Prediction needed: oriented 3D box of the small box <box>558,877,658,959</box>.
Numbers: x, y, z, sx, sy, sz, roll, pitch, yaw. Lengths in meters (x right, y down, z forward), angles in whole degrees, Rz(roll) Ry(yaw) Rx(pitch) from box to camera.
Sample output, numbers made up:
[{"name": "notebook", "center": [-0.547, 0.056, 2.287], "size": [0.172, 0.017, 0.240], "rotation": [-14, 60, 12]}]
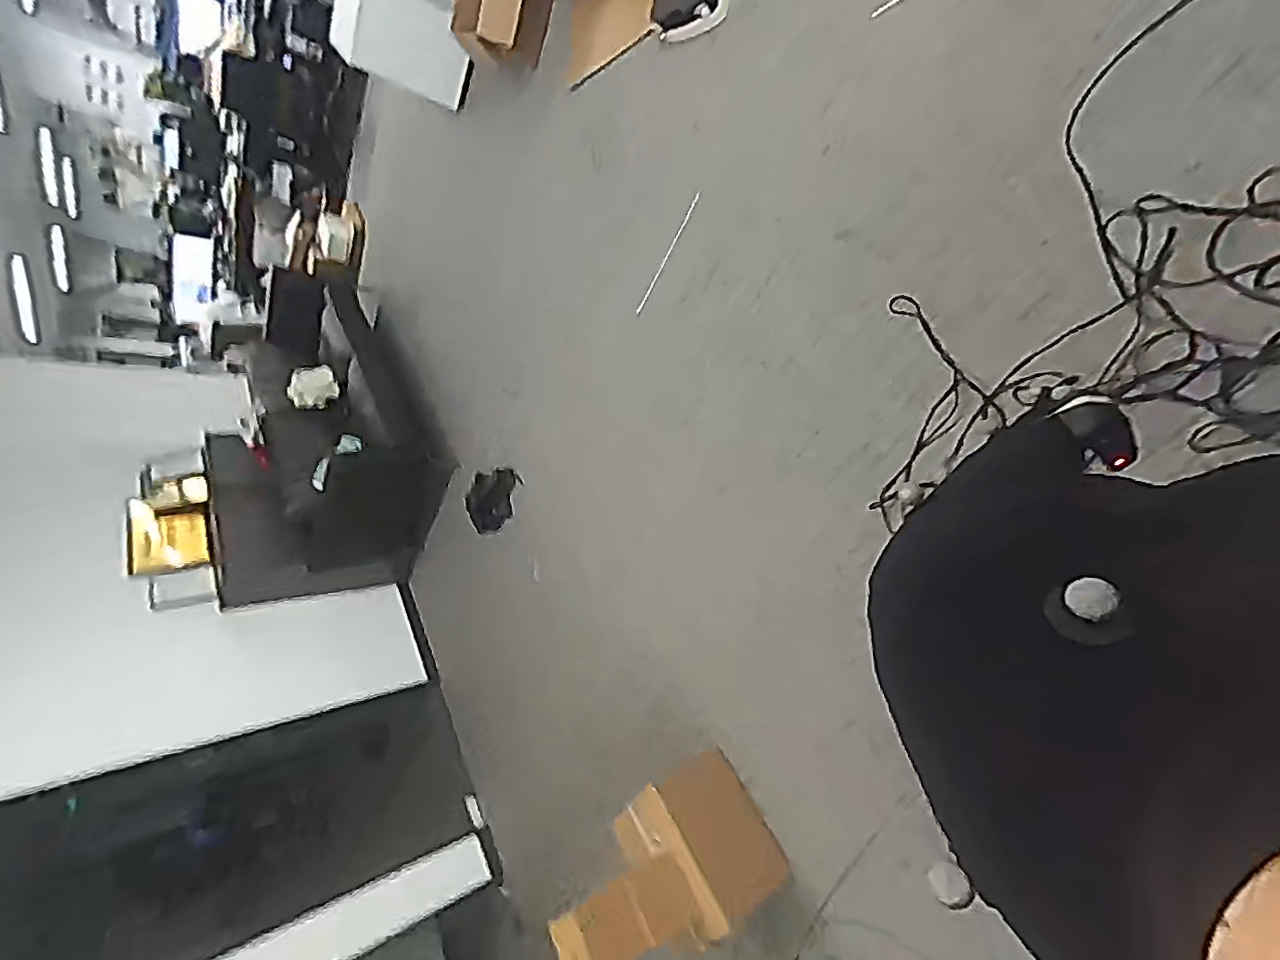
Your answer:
[{"name": "small box", "center": [-0.082, 1.187, 1.407], "size": [0.168, 0.176, 0.179], "rotation": [-56, 51, 34]}]

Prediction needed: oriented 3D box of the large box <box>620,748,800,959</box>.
[{"name": "large box", "center": [0.209, 1.141, 1.691], "size": [0.408, 0.320, 0.320], "rotation": [54, 127, 34]}]
